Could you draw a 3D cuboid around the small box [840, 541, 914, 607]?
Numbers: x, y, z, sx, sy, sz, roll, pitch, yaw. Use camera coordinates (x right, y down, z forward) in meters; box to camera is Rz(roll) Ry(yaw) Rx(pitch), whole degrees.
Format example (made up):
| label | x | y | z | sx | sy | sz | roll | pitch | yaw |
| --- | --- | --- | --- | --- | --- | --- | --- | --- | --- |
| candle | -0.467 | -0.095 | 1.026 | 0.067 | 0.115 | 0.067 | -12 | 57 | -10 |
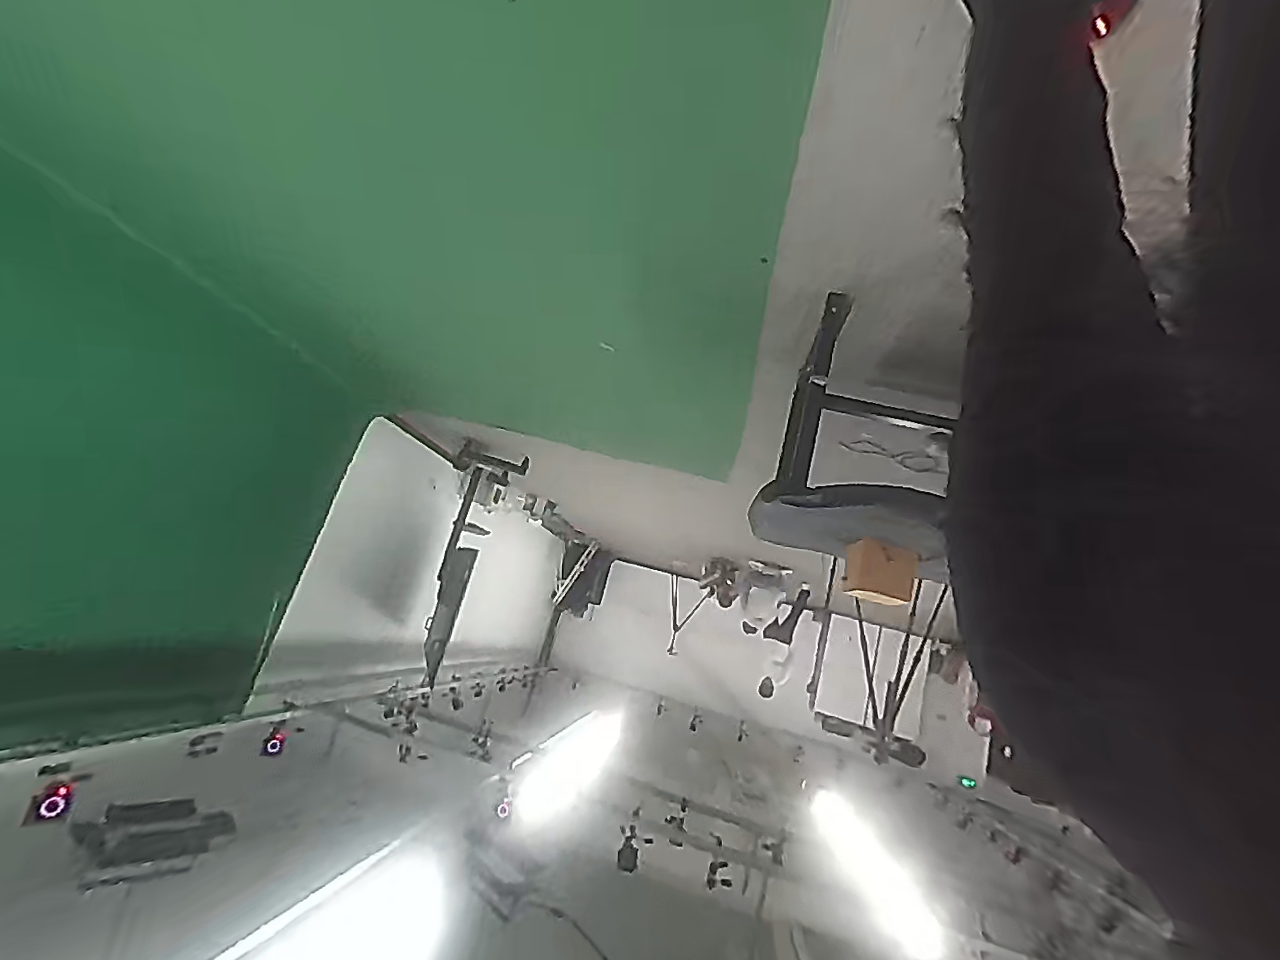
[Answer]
| label | x | y | z | sx | sy | sz | roll | pitch | yaw |
| --- | --- | --- | --- | --- | --- | --- | --- | --- | --- |
| small box | 0.778 | 0.309 | 1.773 | 0.168 | 0.176 | 0.179 | 14 | 165 | 6 |
